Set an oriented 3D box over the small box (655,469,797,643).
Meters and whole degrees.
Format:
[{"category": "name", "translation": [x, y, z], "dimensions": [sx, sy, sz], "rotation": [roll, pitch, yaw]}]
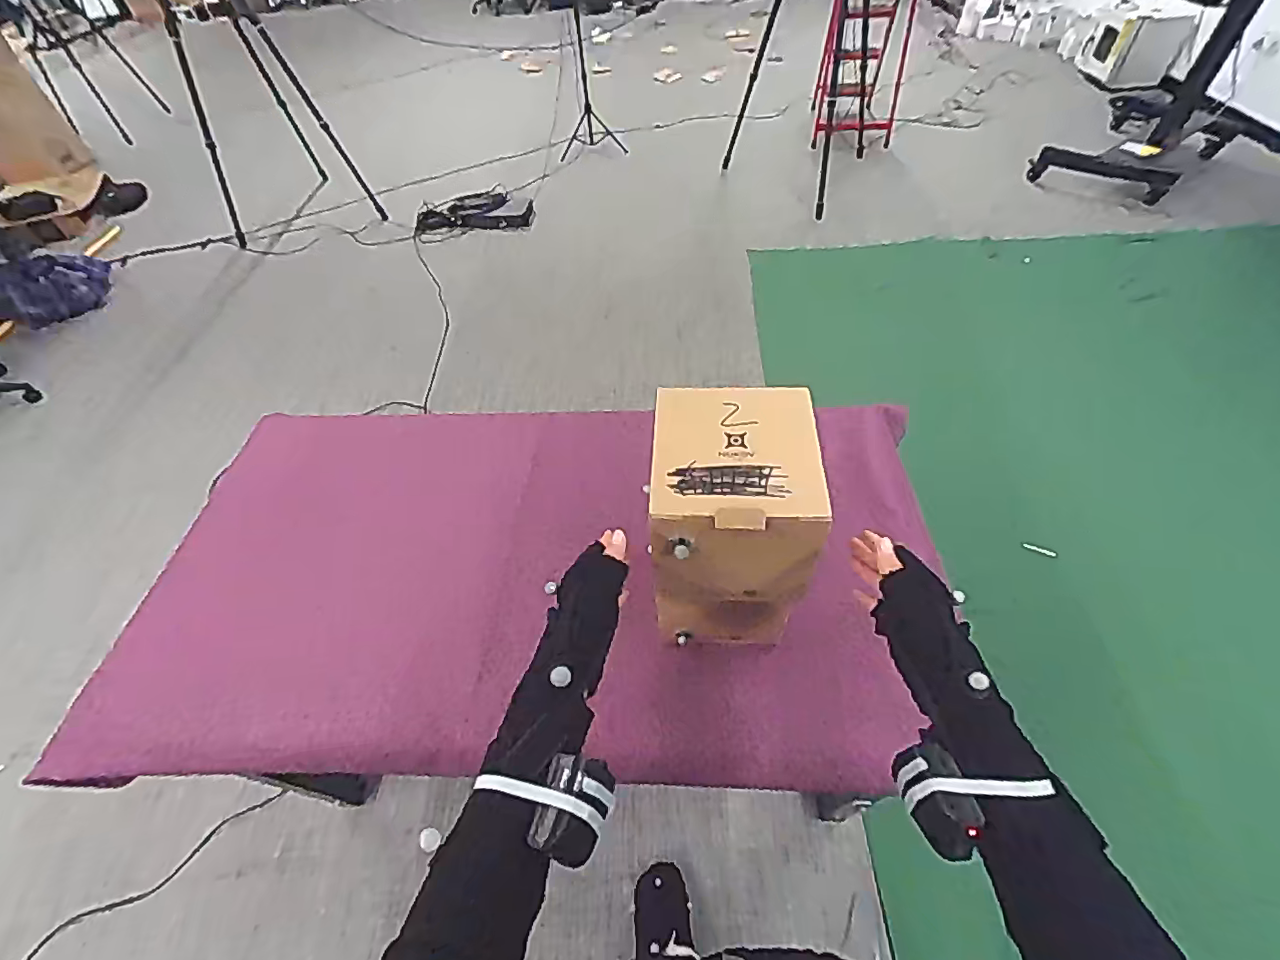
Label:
[{"category": "small box", "translation": [0.111, 0.106, 0.731], "dimensions": [0.168, 0.176, 0.179], "rotation": [3, 52, 5]}]
